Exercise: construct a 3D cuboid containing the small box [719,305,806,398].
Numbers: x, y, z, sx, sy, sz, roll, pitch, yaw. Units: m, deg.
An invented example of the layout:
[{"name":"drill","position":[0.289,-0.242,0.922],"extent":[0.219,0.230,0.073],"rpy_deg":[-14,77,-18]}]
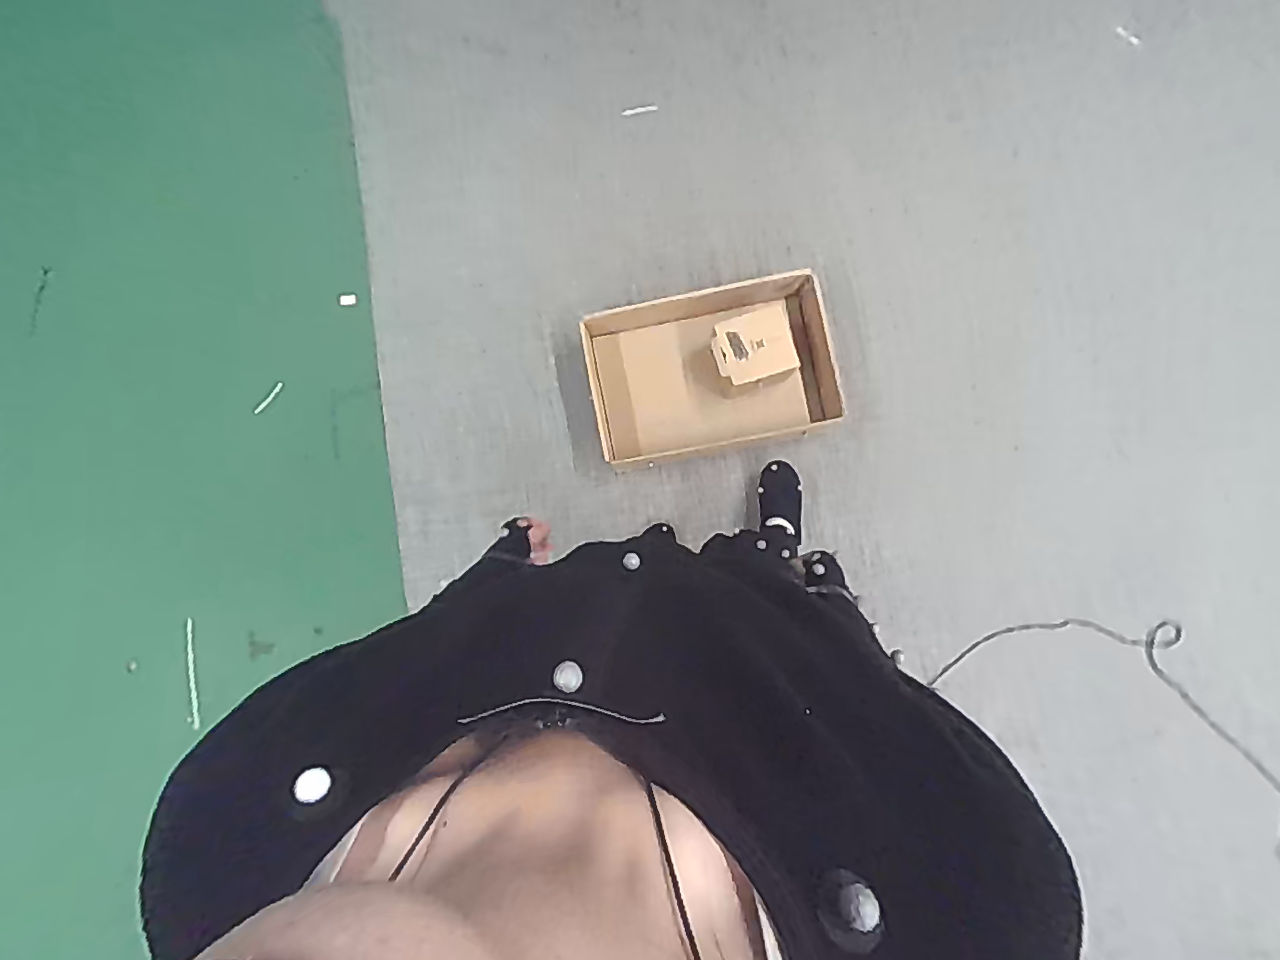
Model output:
[{"name":"small box","position":[0.309,-0.326,1.408],"extent":[0.179,0.176,0.168],"rpy_deg":[-17,86,3]}]
